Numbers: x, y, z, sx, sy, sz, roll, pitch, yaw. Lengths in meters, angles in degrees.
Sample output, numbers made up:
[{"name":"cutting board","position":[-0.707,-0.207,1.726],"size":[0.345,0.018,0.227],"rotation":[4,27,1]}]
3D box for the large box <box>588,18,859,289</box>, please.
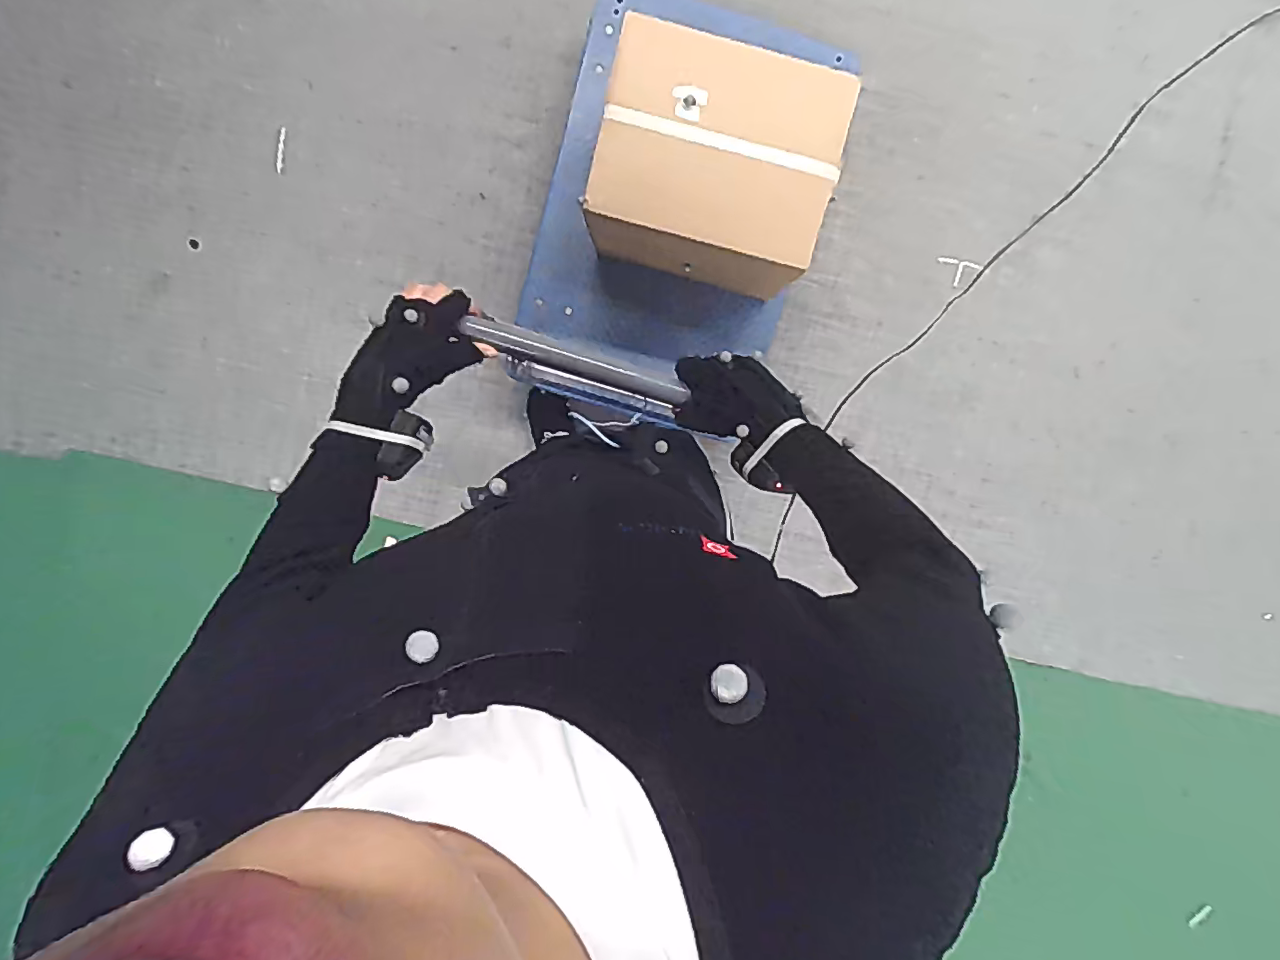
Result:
[{"name":"large box","position":[0.142,-0.595,1.060],"size":[0.408,0.320,0.320],"rotation":[14,99,-1]}]
